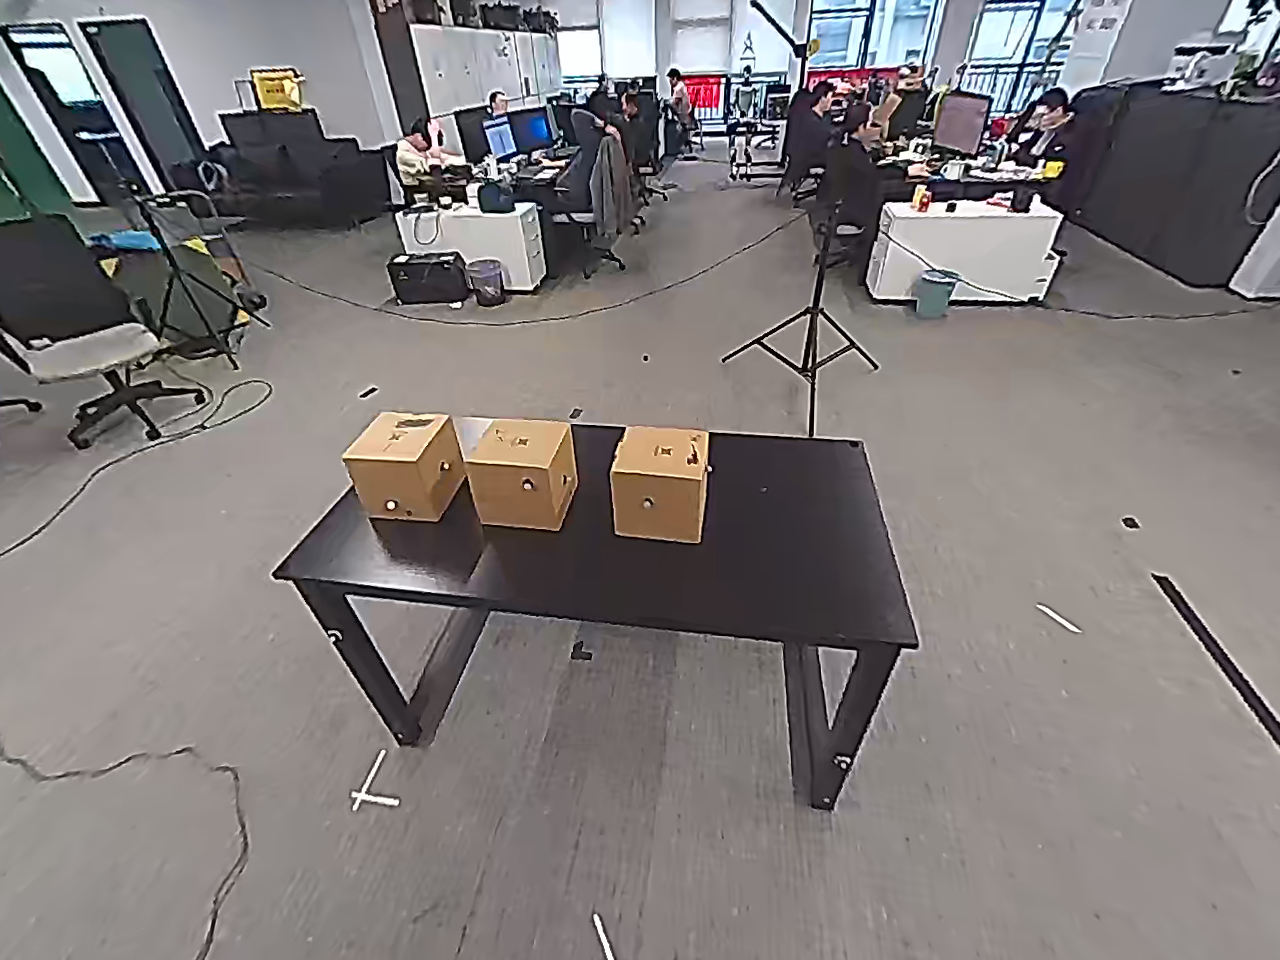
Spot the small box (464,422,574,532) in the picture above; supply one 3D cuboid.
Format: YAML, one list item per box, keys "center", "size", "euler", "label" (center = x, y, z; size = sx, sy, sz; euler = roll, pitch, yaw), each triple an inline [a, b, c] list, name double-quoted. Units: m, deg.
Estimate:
- center: [-0.248, -0.005, 1.162]
  size: [0.179, 0.176, 0.168]
  euler: [4, 38, 8]
  label: "small box"

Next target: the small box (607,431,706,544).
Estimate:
- center: [0.041, 0.015, 1.122]
  size: [0.179, 0.176, 0.168]
  euler: [4, 39, 10]
  label: "small box"

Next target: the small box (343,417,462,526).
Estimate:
- center: [-0.511, -0.022, 1.200]
  size: [0.168, 0.176, 0.179]
  euler: [3, 39, 7]
  label: "small box"
